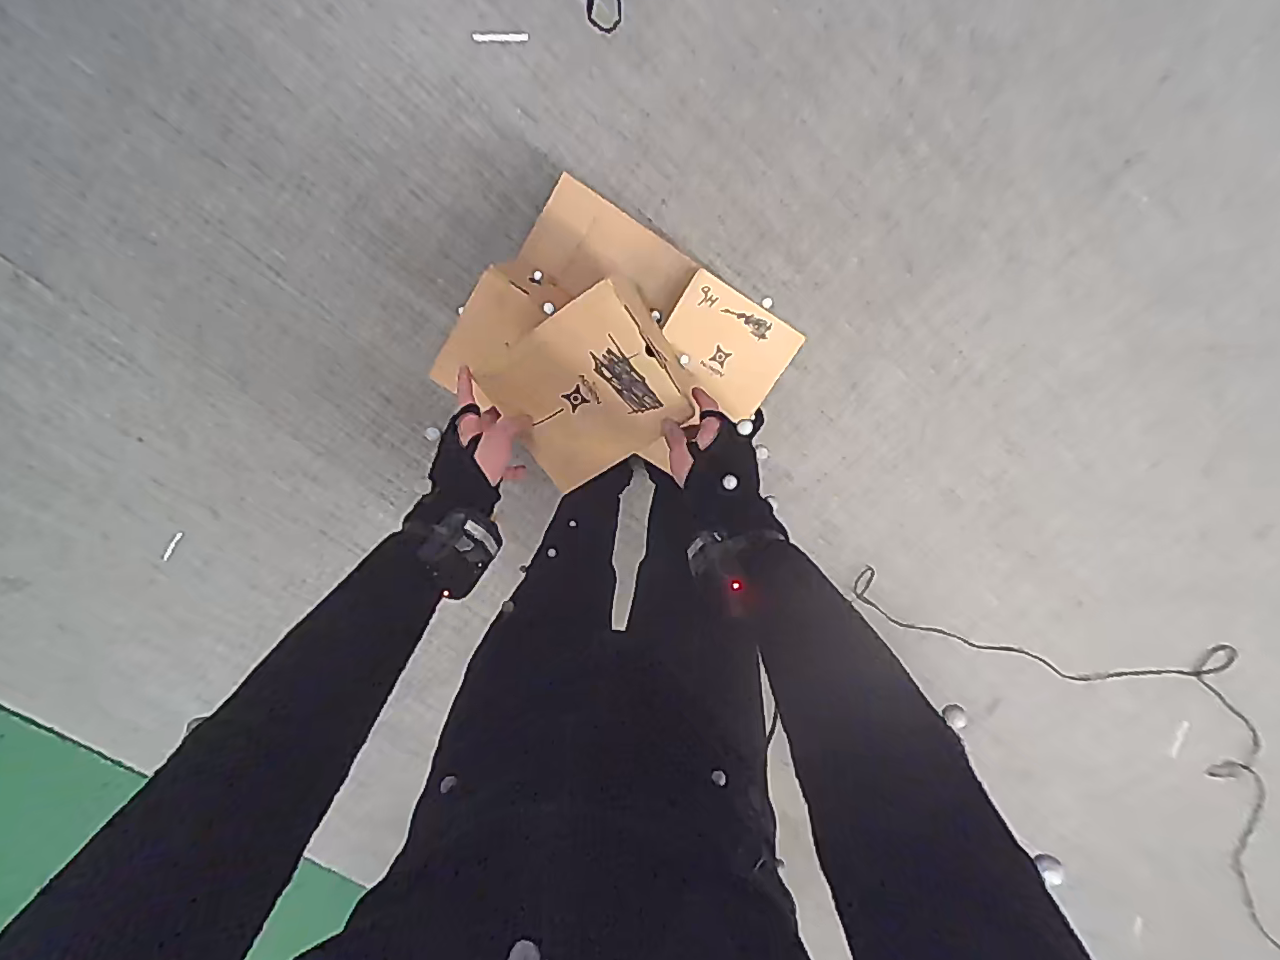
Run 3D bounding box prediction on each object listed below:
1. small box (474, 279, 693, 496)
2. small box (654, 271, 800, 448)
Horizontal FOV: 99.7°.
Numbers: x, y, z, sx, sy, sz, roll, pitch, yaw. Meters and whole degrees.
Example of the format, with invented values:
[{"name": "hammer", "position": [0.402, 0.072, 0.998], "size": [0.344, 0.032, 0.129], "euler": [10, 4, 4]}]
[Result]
[{"name": "small box", "position": [-0.055, -0.117, 0.635], "size": [0.179, 0.176, 0.168], "euler": [-30, 108, 16]}, {"name": "small box", "position": [0.099, -0.180, 0.780], "size": [0.168, 0.176, 0.179], "euler": [29, 111, -10]}]
